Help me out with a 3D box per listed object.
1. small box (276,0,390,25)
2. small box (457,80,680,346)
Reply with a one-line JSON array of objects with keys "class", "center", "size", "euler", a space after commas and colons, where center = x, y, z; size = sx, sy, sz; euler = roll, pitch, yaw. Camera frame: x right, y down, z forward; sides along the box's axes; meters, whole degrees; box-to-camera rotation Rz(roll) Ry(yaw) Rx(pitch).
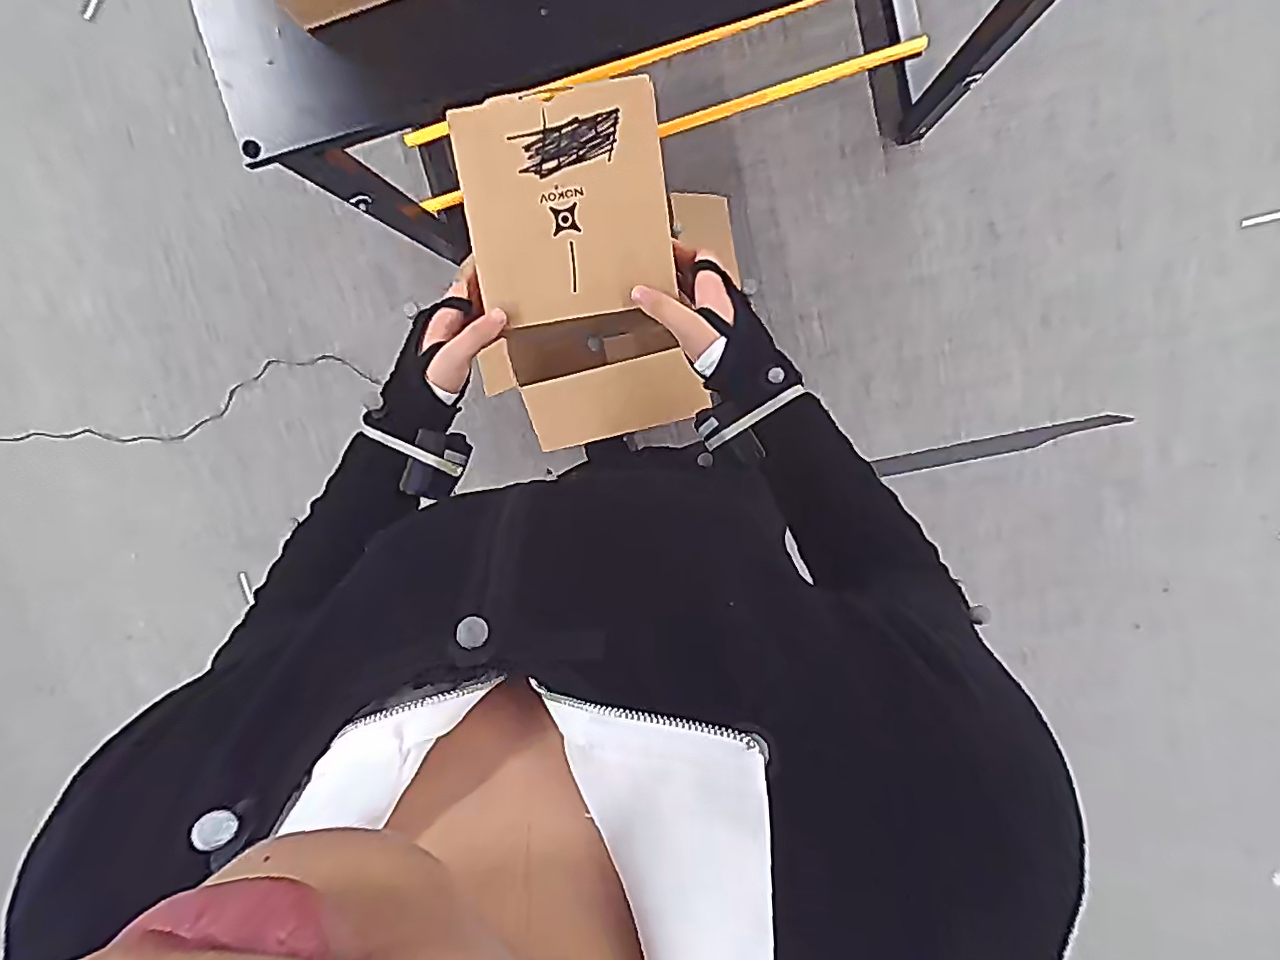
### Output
[{"class": "small box", "center": [-0.364, -0.651, 0.583], "size": [0.179, 0.176, 0.168], "euler": [-14, 98, 5]}, {"class": "small box", "center": [-0.055, -0.235, 0.524], "size": [0.168, 0.176, 0.179], "euler": [-8, 99, 4]}]
